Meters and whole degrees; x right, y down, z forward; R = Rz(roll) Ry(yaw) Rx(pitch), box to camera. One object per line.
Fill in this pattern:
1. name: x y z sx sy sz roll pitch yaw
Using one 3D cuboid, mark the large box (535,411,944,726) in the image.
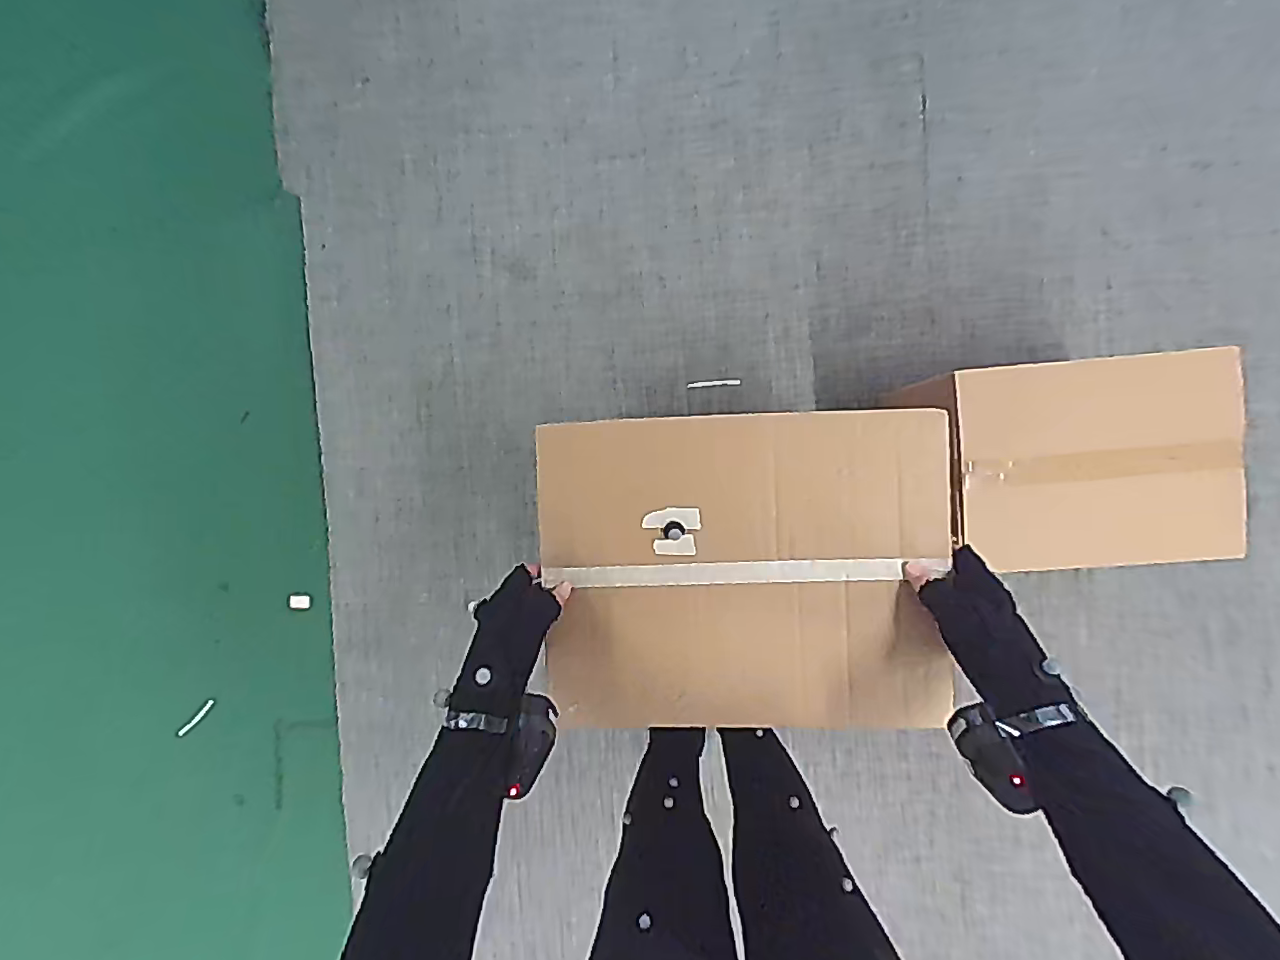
1. large box: 0.110 0.091 0.691 0.408 0.320 0.320 -2 91 5
